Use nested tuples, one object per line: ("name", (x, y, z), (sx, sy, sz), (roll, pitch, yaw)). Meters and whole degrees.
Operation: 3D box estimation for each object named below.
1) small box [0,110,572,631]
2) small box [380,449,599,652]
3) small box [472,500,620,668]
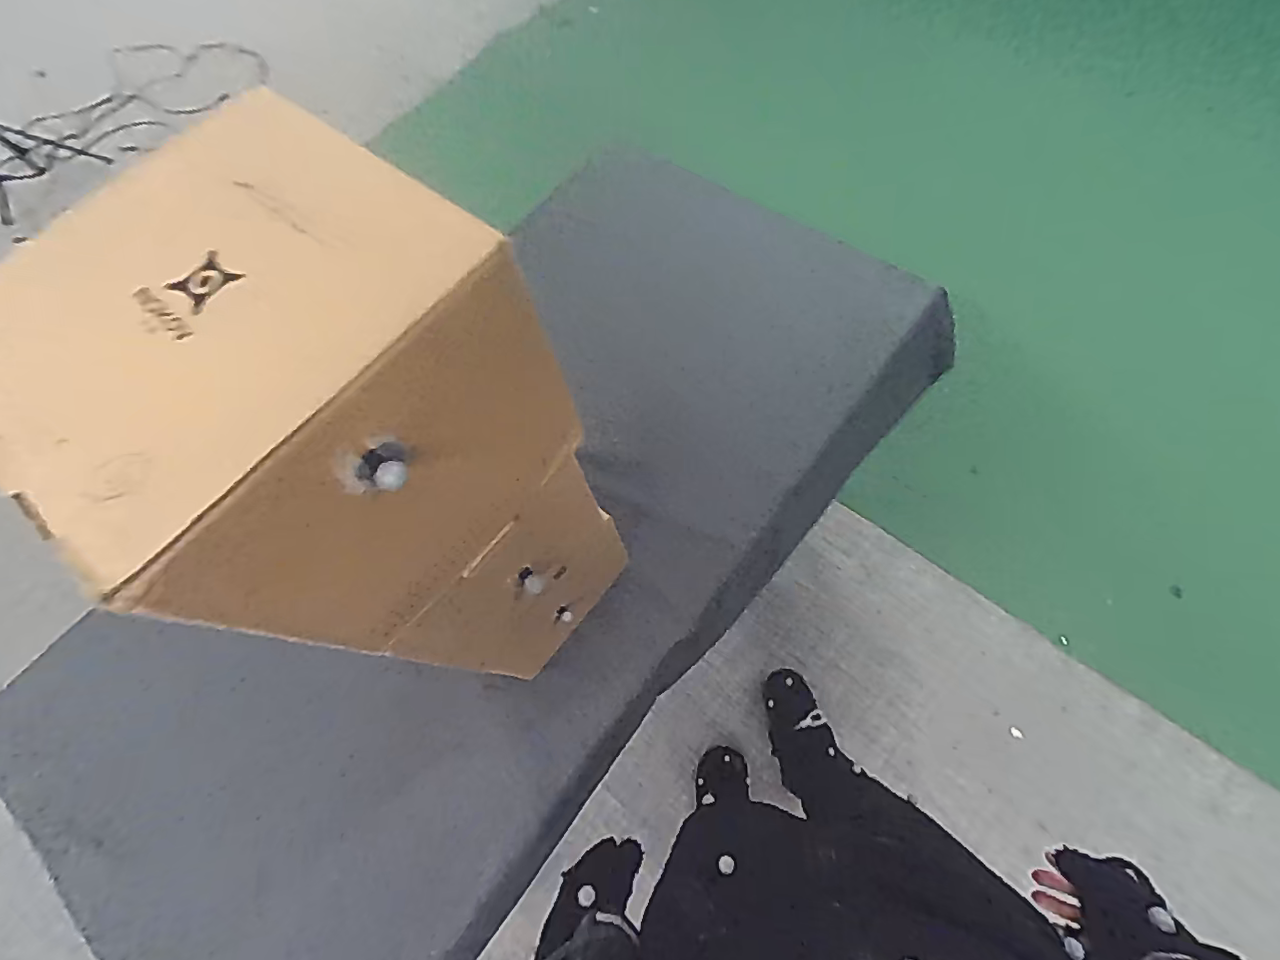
("small box", (-0.158, -0.041, 0.291), (0.168, 0.176, 0.179), (36, 74, 17))
("small box", (-0.153, 0.022, 0.441), (0.179, 0.176, 0.168), (35, 75, 17))
("small box", (-0.136, 0.082, 0.592), (0.168, 0.176, 0.179), (36, 76, 18))
